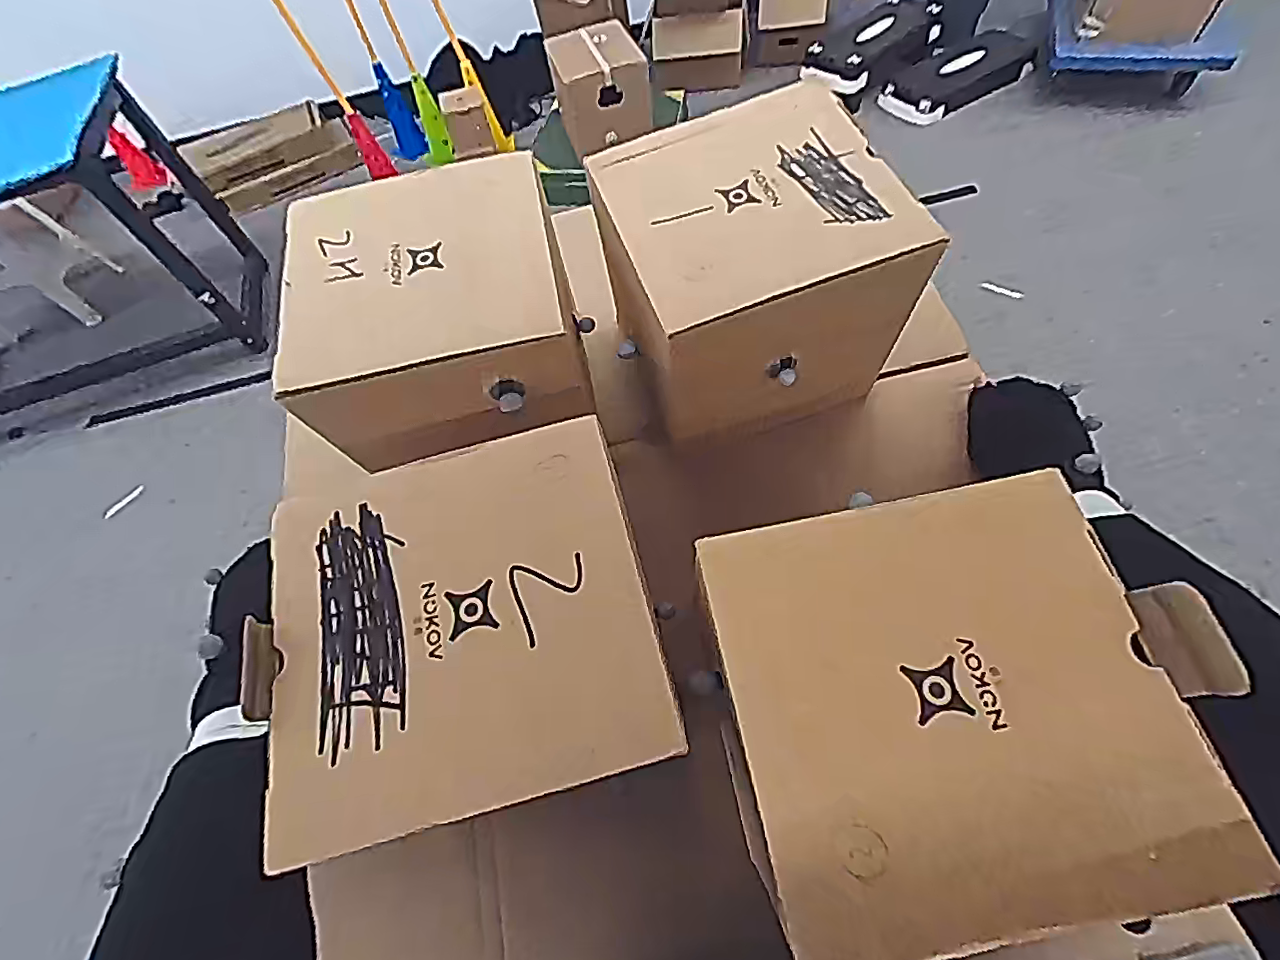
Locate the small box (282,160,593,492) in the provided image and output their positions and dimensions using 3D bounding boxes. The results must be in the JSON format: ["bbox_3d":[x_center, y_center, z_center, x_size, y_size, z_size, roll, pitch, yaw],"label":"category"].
[{"bbox_3d":[-0.139,-0.107,0.430,0.179,0.176,0.168,-13,66,1],"label":"small box"}]
